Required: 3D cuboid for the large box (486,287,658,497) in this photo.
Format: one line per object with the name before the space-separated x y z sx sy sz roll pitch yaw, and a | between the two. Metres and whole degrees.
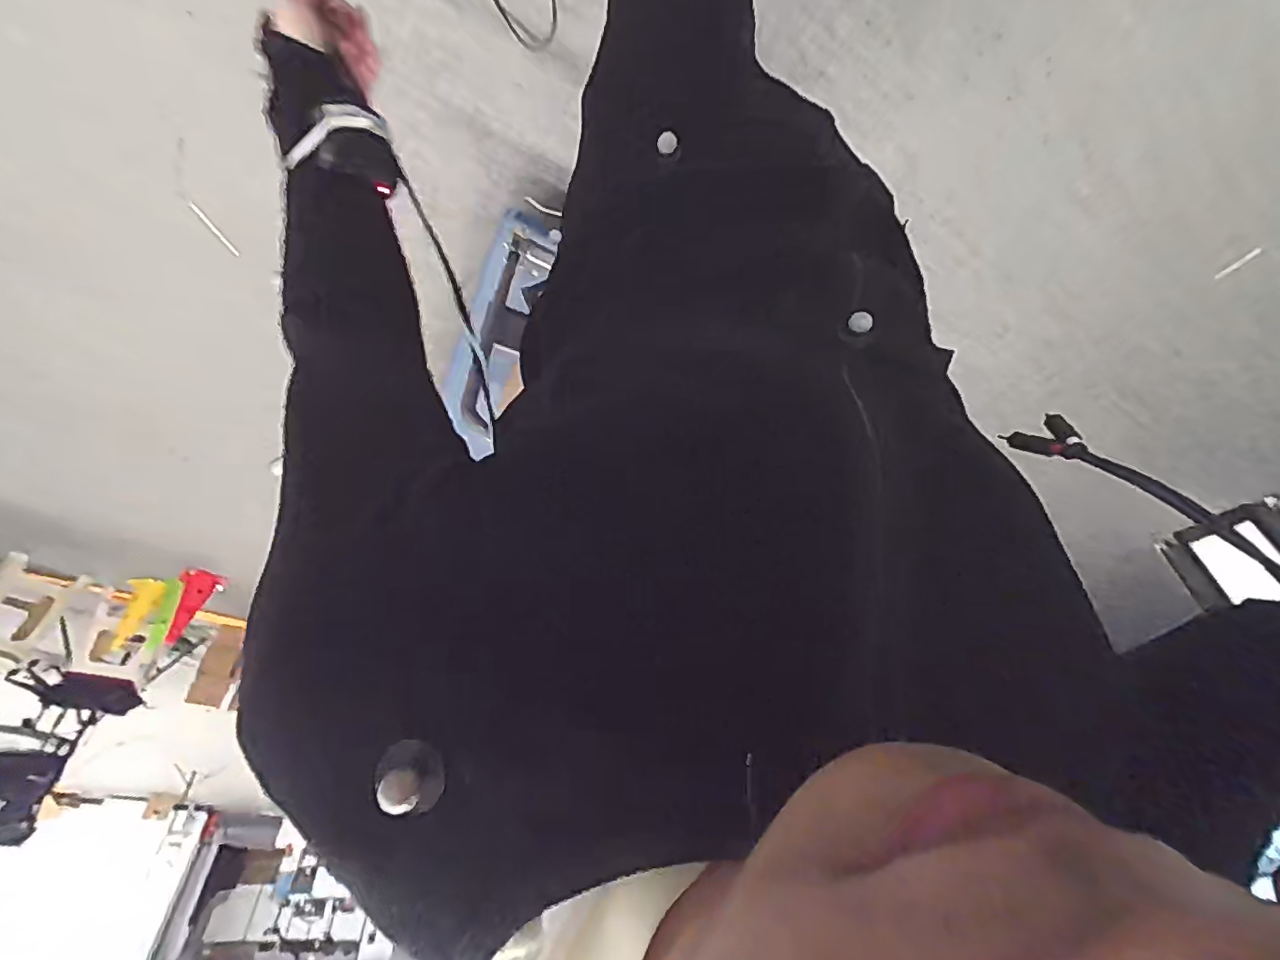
large box | -0.184 -0.221 1.447 0.320 0.320 0.408 20 137 -24
